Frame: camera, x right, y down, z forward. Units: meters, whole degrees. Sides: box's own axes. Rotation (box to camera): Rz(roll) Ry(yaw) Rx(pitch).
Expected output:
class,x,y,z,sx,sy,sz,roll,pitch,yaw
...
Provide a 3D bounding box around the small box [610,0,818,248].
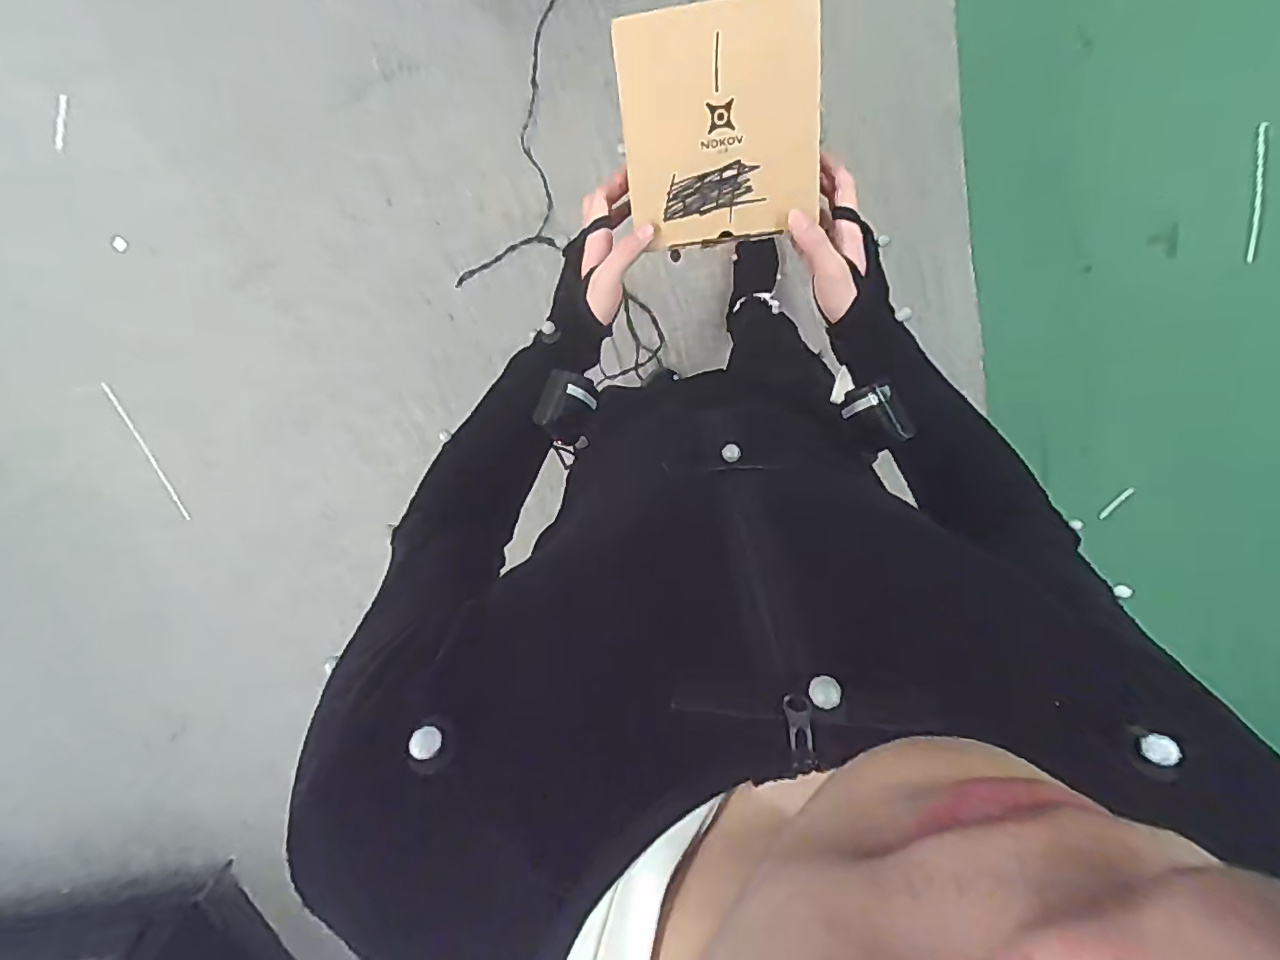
class,x,y,z,sx,sy,sz,roll,pitch,yaw
small box,0.071,-0.330,0.527,0.168,0.176,0.179,-4,112,6
